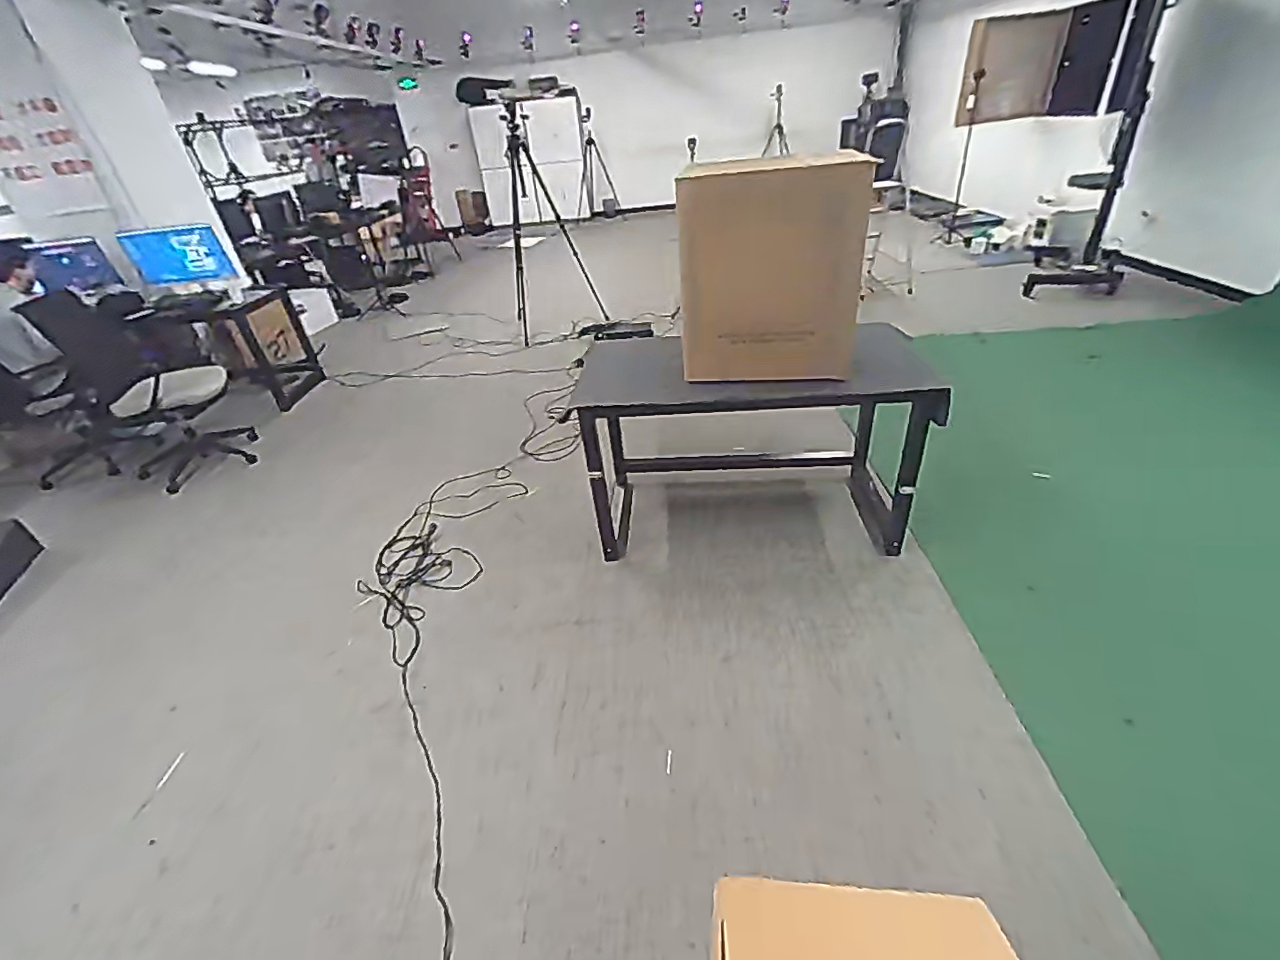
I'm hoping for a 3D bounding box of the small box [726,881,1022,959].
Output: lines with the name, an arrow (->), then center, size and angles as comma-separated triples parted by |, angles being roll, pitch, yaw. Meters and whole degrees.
small box -> 0.135, 0.369, 0.294 | 0.179, 0.176, 0.168 | 3, 11, 2
